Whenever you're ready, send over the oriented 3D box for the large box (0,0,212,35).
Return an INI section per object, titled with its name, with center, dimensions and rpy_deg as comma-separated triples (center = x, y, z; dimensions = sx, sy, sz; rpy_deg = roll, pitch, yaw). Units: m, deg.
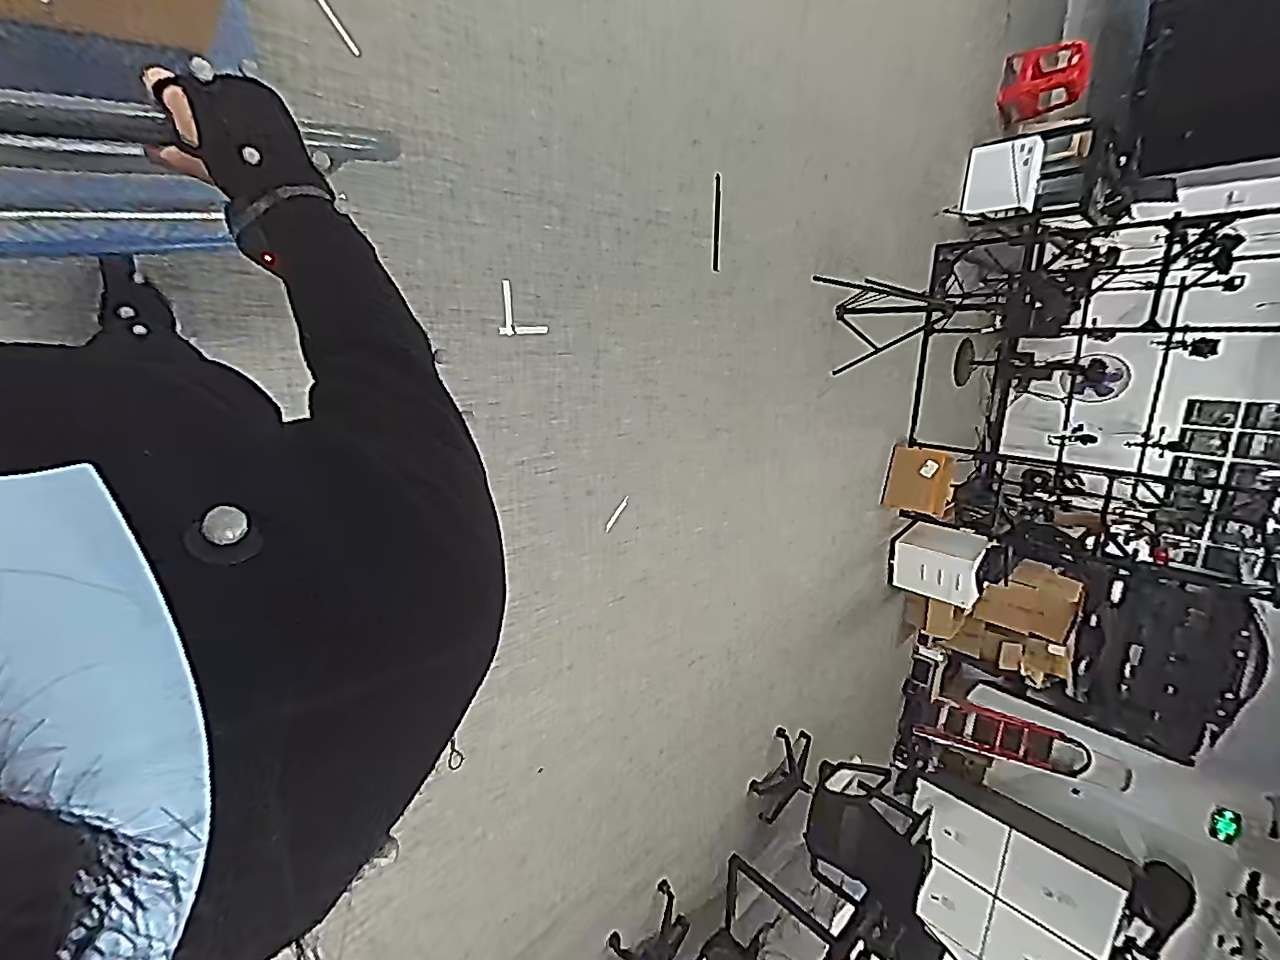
[large box]
center = -0.828, -0.827, 0.672
dimensions = 0.408, 0.320, 0.320
rpy_deg = -22, 116, -38
